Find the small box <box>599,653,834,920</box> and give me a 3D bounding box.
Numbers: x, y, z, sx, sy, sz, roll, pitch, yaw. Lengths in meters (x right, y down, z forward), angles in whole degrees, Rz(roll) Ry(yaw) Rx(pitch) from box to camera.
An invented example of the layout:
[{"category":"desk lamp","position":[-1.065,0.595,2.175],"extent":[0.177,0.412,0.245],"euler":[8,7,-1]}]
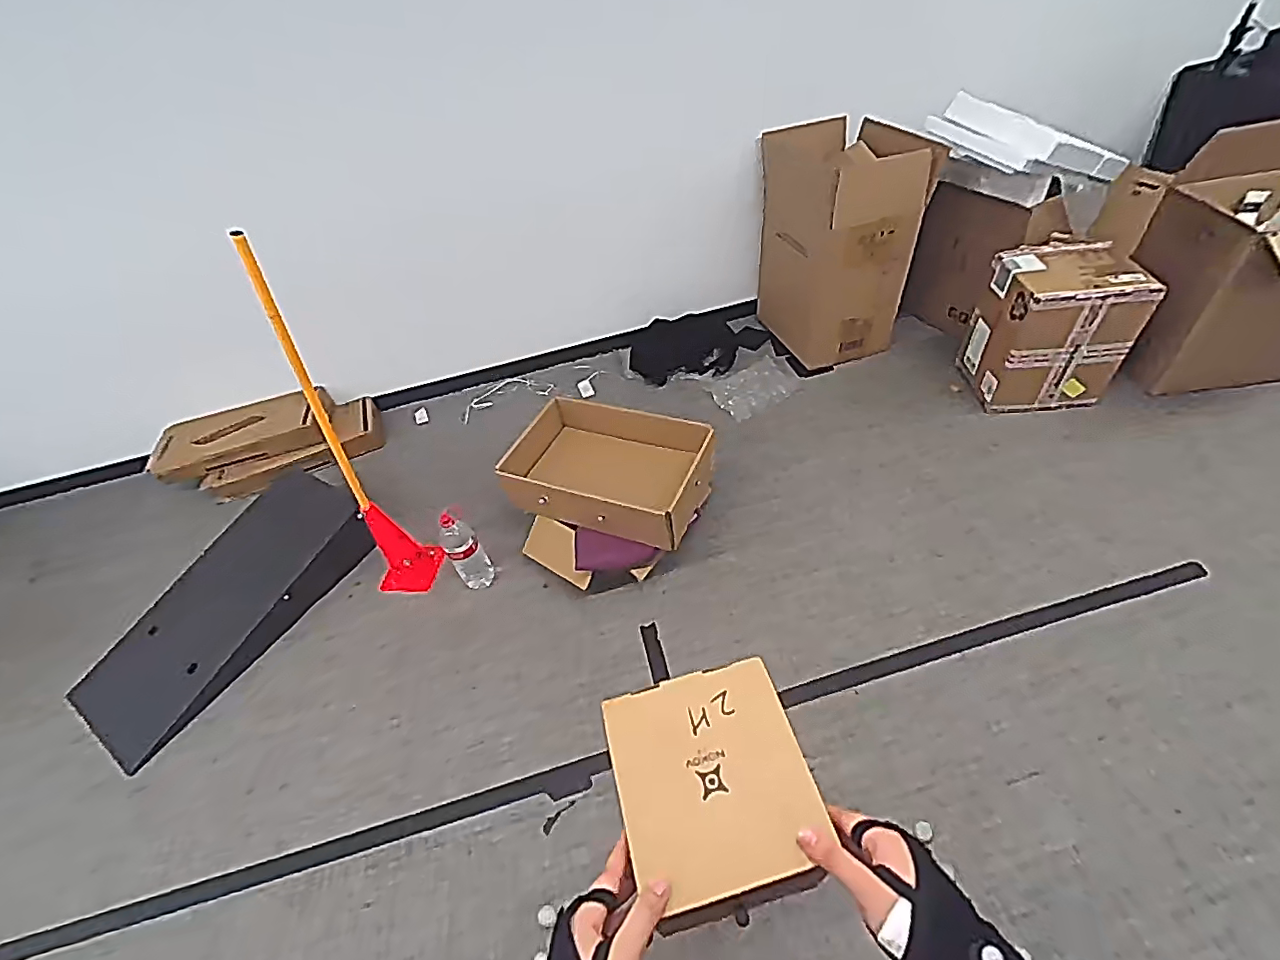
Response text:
[{"category":"small box","position":[0.068,0.305,0.534],"extent":[0.168,0.176,0.179],"euler":[-15,47,-5]}]
